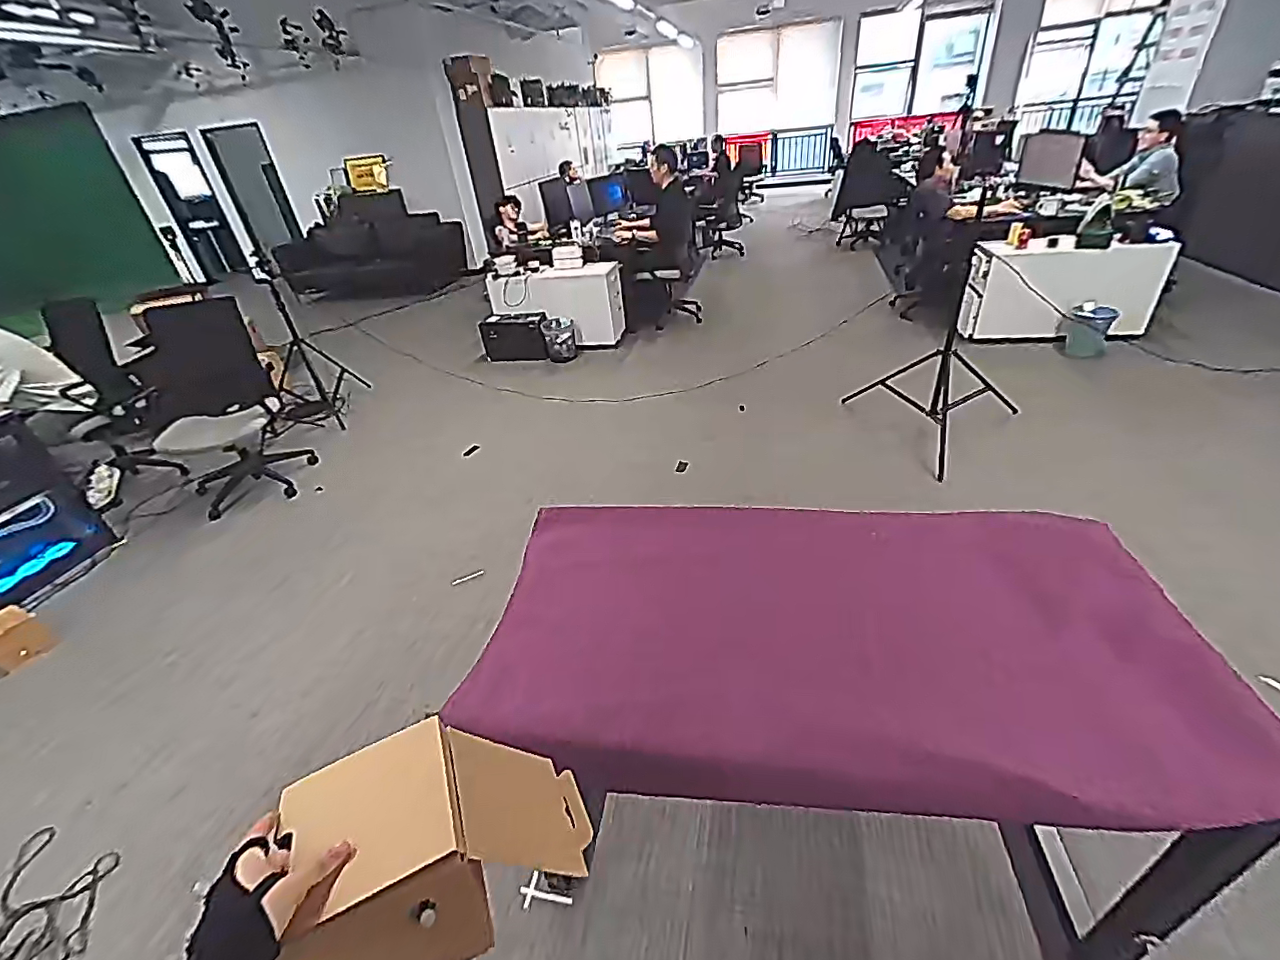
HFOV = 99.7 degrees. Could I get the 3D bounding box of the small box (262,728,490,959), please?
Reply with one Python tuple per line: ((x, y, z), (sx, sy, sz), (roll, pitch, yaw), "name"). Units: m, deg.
((-0.269, 0.418, 0.587), (0.179, 0.176, 0.168), (-14, 28, -20), "small box")
